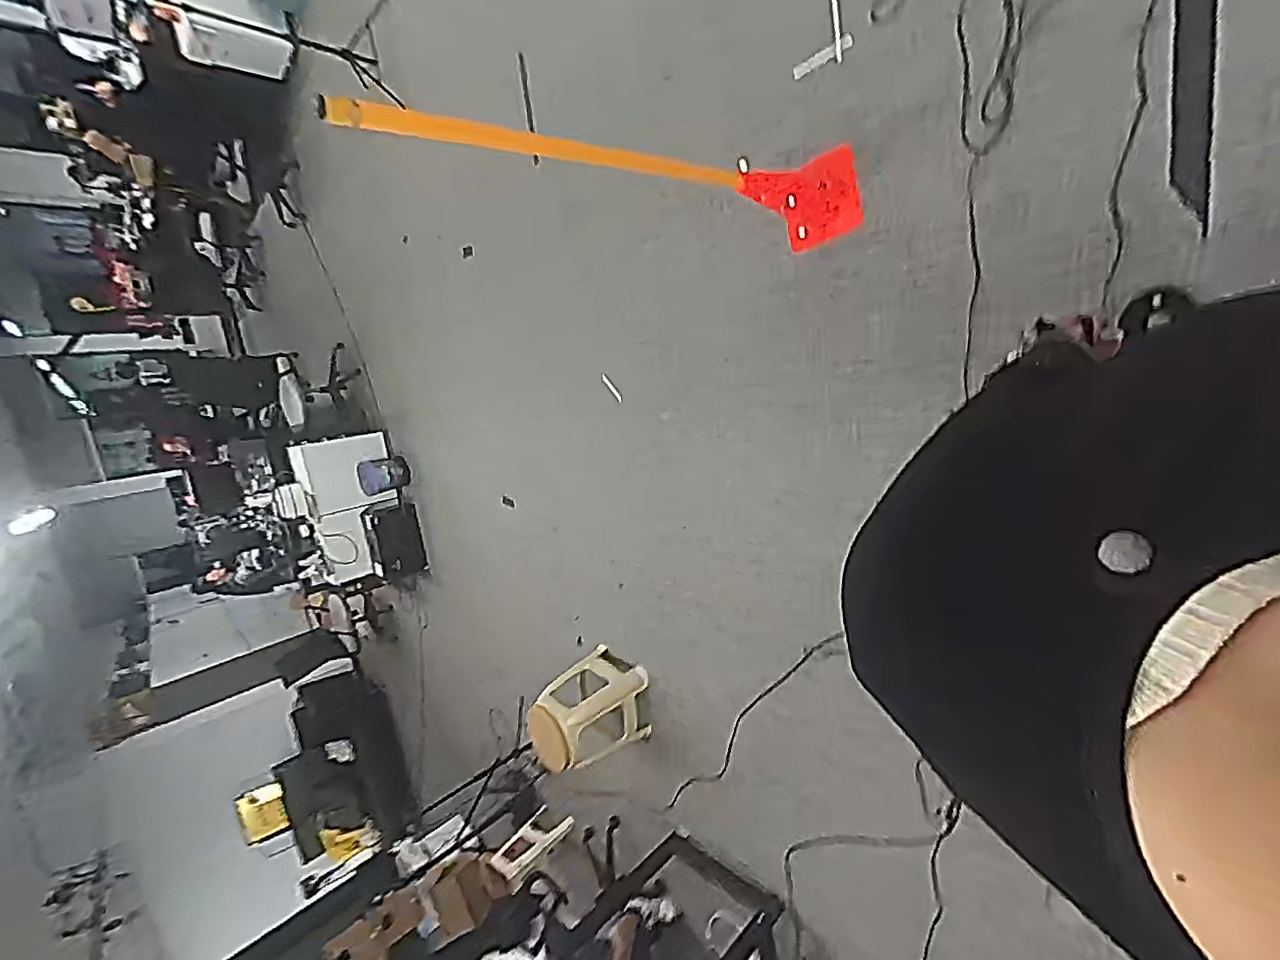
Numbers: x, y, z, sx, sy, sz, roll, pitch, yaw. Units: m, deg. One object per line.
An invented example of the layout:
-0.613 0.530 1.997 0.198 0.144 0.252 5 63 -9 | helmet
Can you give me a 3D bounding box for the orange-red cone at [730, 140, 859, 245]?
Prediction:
0.330 -0.684 1.260 0.199 0.360 0.198 -5 100 47 | orange-red cone
